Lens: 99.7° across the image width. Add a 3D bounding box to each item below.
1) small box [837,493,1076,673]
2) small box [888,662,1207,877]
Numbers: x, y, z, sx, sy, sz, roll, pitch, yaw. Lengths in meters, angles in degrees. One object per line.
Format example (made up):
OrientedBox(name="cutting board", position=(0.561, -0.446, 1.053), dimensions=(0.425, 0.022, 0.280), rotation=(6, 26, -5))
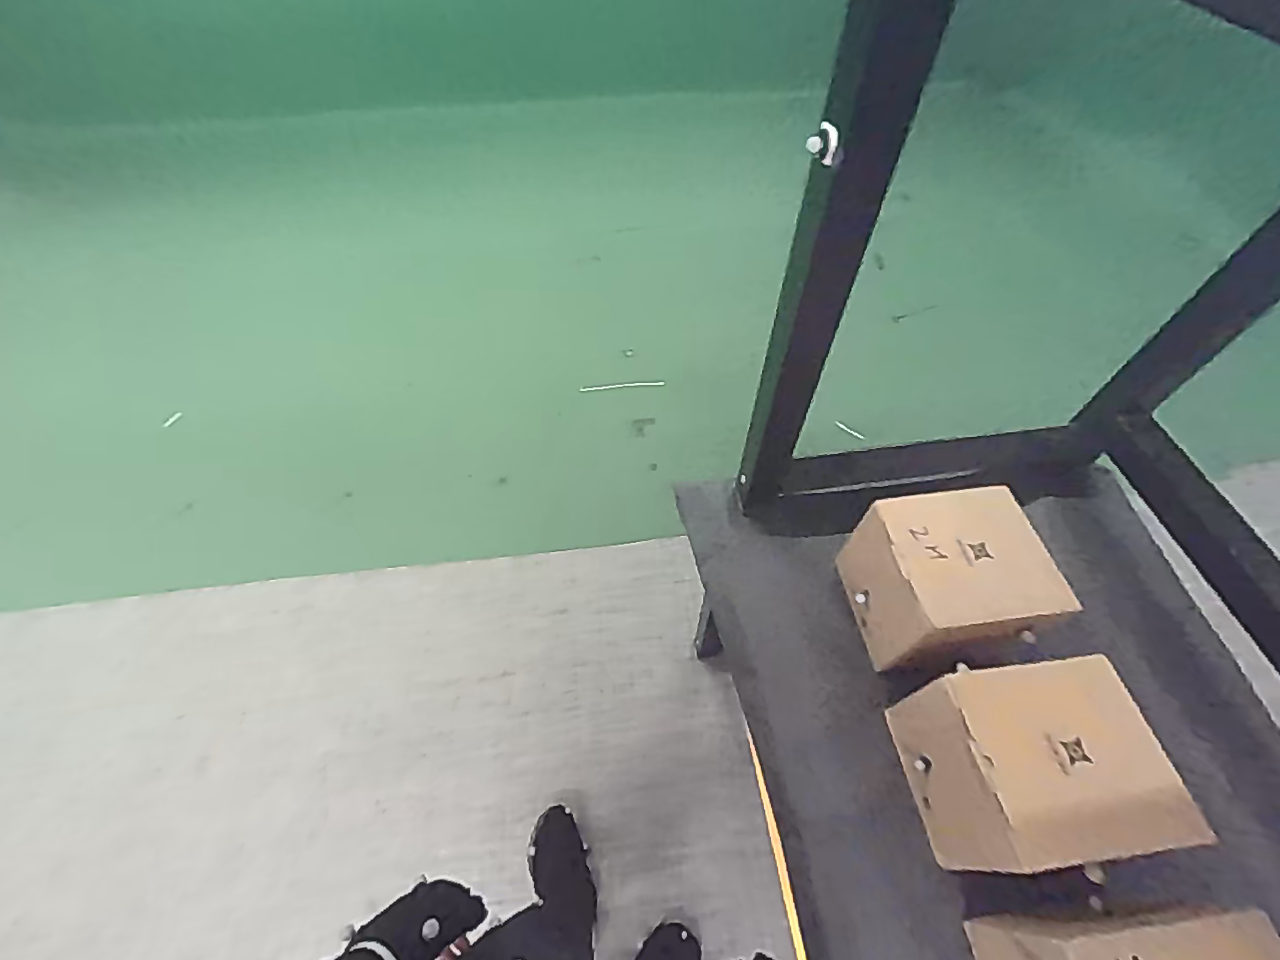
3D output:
OrientedBox(name="small box", position=(0.381, 0.135, 0.692), dimensions=(0.179, 0.176, 0.168), rotation=(-6, 55, -4))
OrientedBox(name="small box", position=(0.402, 0.306, 0.575), dimensions=(0.179, 0.176, 0.168), rotation=(-7, 56, -3))
